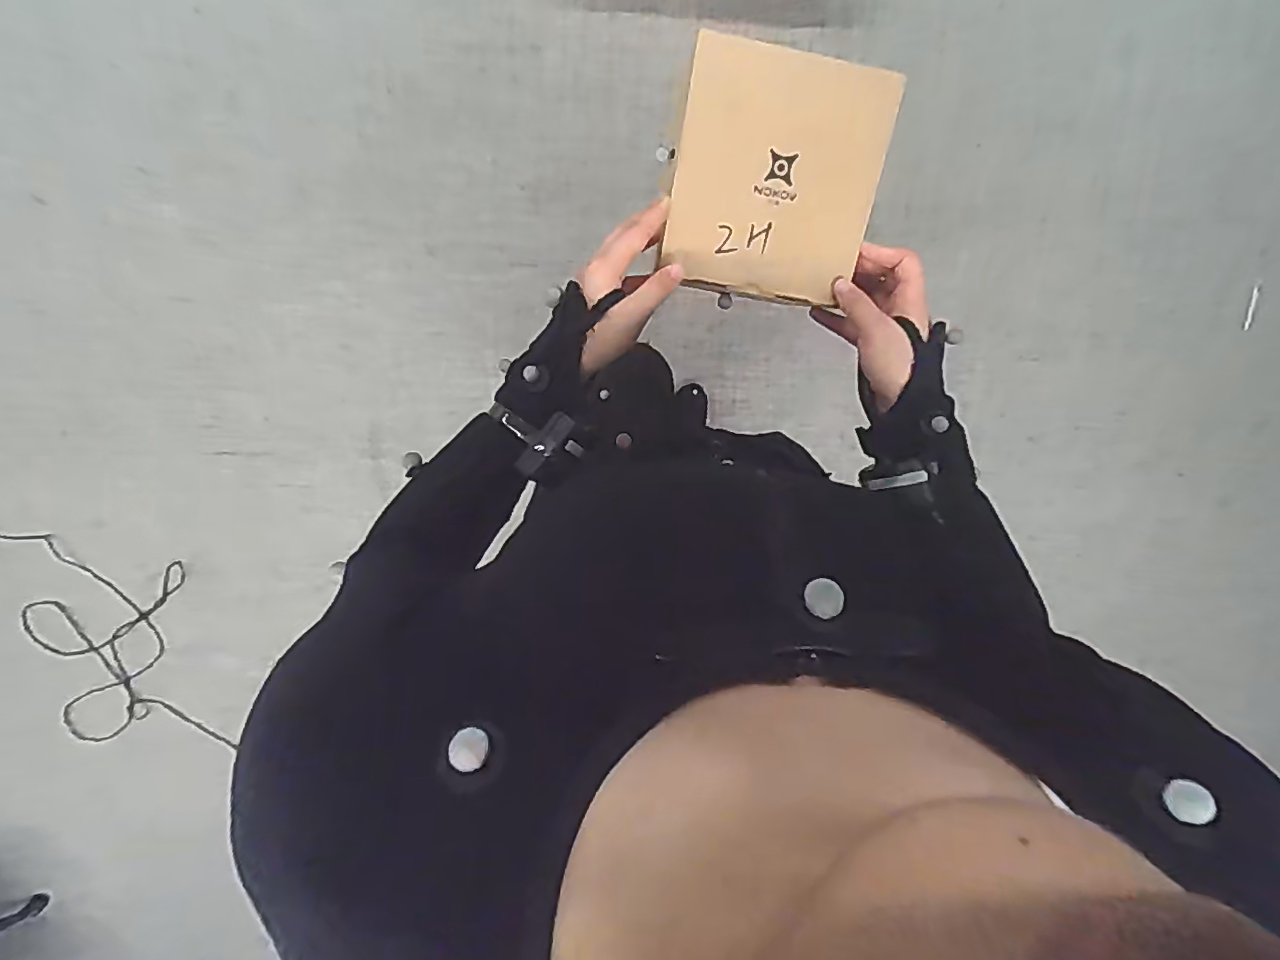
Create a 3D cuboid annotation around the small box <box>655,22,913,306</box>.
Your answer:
[{"bbox_3d":[0.111,-0.267,0.505,0.168,0.176,0.179,9,108,-6],"label":"small box"}]
